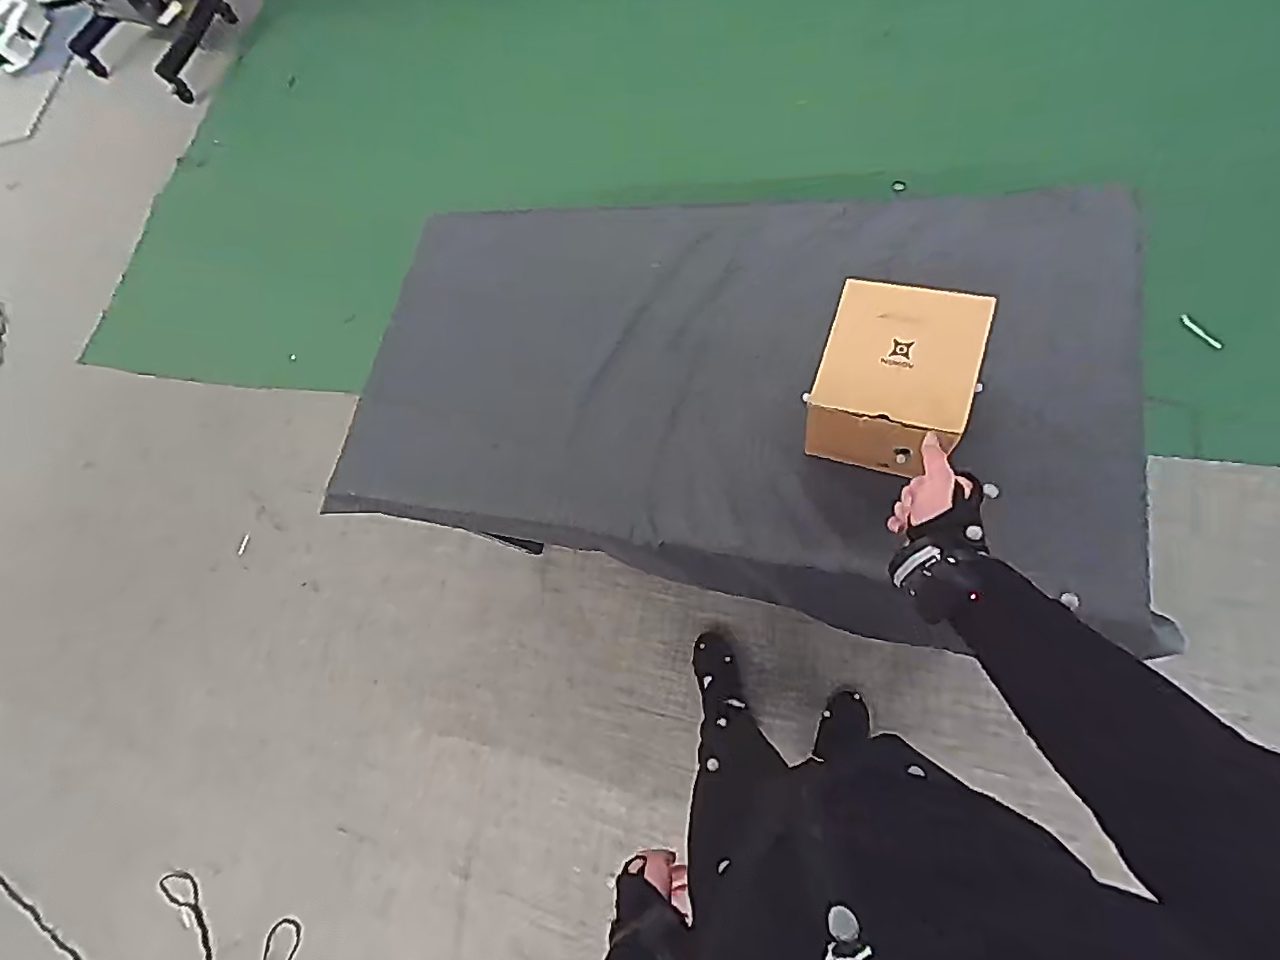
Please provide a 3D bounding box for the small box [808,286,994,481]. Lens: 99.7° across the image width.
[{"bbox_3d":[0.320,-0.115,0.694,0.168,0.176,0.179,16,76,19],"label":"small box"}]
